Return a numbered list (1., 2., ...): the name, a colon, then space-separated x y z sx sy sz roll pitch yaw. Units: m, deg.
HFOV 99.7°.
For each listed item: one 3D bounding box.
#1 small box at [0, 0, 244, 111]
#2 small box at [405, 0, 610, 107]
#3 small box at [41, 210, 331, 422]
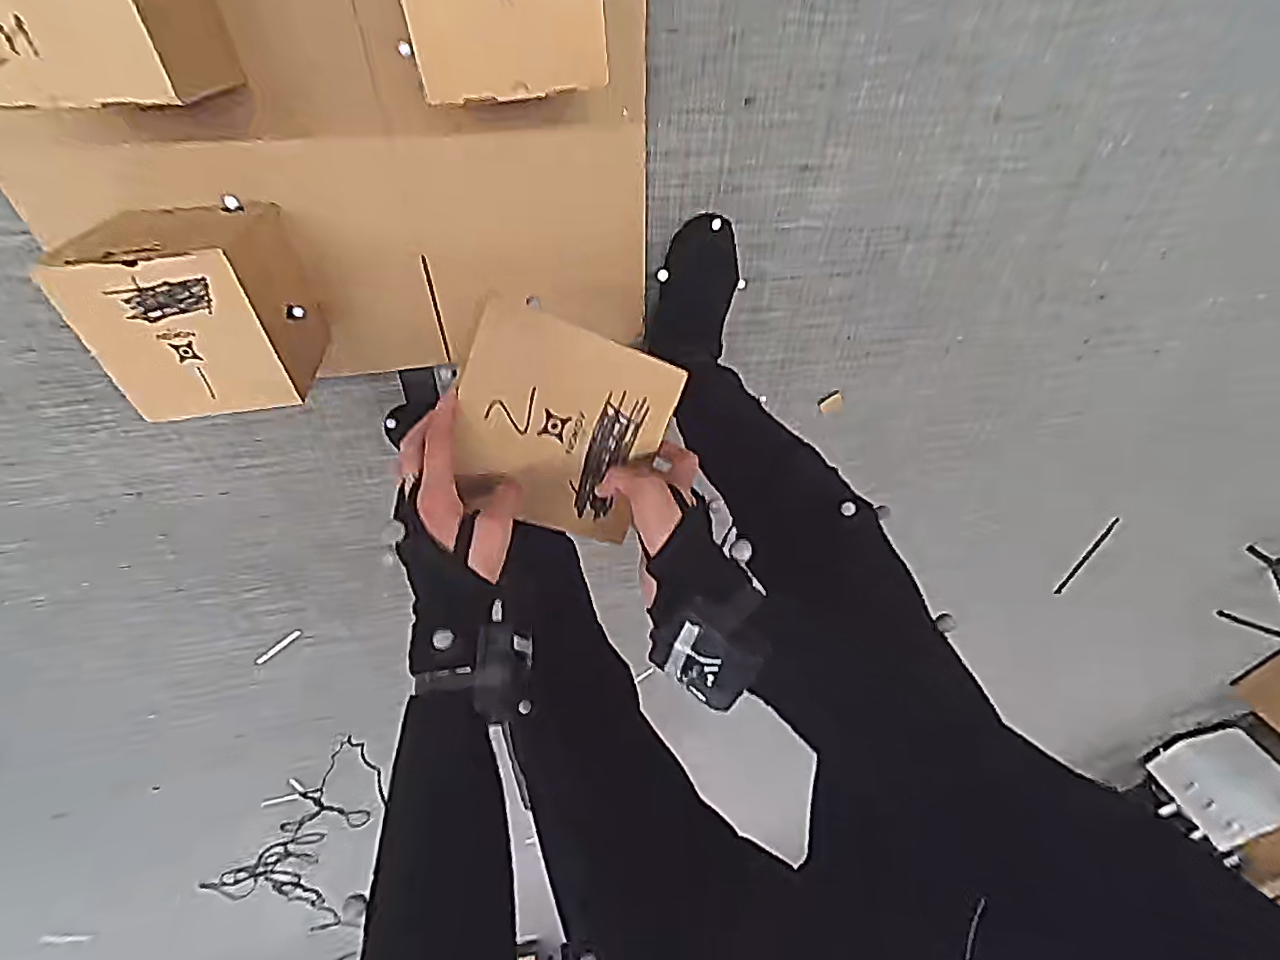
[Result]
1. small box: -0.463 -0.409 0.428 0.168 0.176 0.179 -8 132 -9
2. small box: -0.129 -0.460 0.492 0.168 0.176 0.179 -11 132 -7
3. small box: -0.482 -0.193 0.614 0.168 0.176 0.179 -9 133 -8
